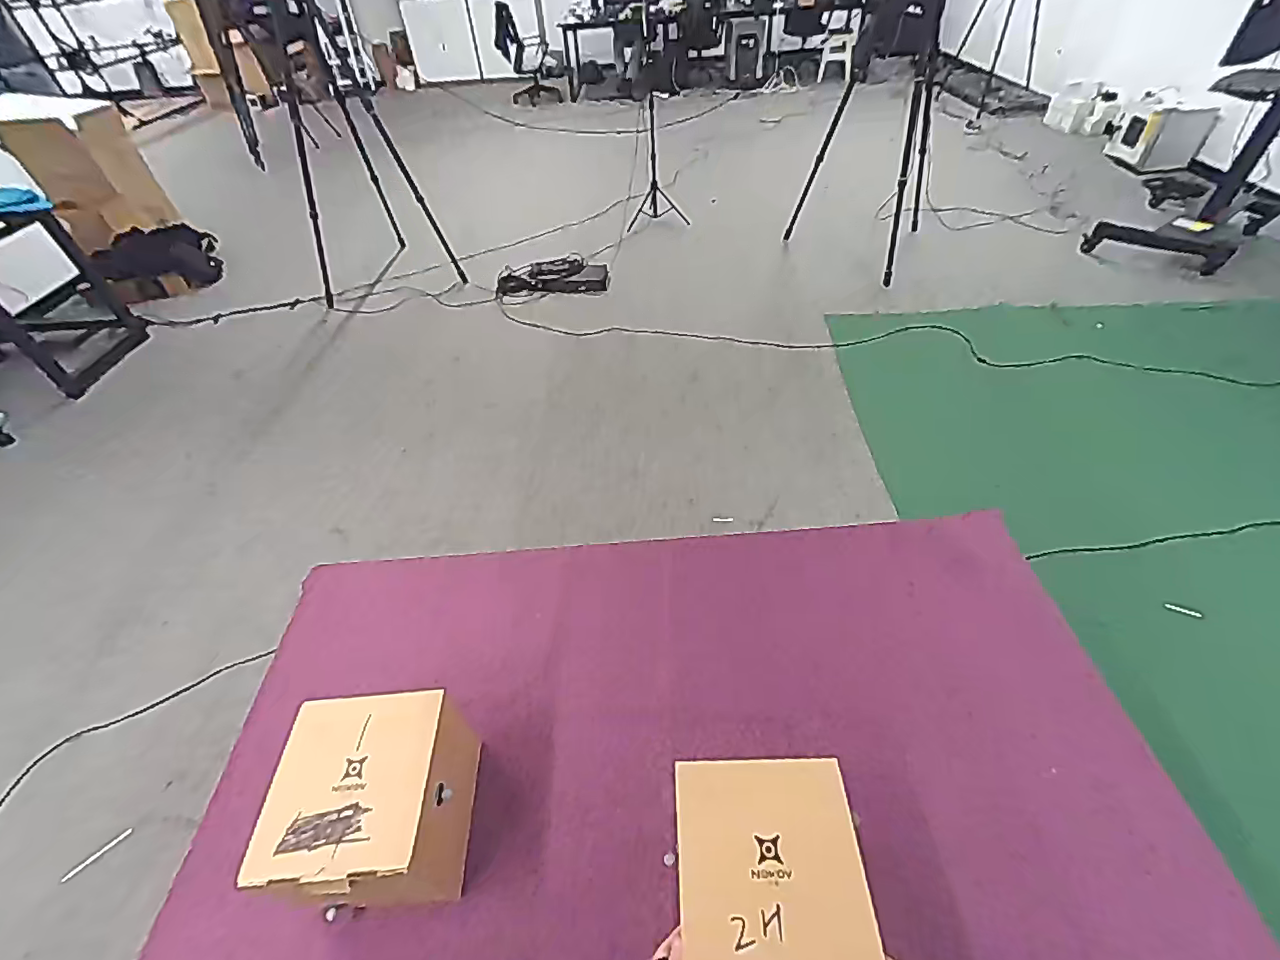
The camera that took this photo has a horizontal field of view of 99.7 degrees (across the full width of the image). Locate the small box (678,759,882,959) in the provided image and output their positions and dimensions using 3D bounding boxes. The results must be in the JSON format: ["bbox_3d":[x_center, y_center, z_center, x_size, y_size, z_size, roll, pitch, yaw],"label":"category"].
[{"bbox_3d":[0.124,0.404,0.545,0.168,0.176,0.179,-4,45,5],"label":"small box"}]

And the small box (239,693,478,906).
[{"bbox_3d":[-0.296,0.370,0.621,0.168,0.176,0.179,-5,45,0],"label":"small box"}]
